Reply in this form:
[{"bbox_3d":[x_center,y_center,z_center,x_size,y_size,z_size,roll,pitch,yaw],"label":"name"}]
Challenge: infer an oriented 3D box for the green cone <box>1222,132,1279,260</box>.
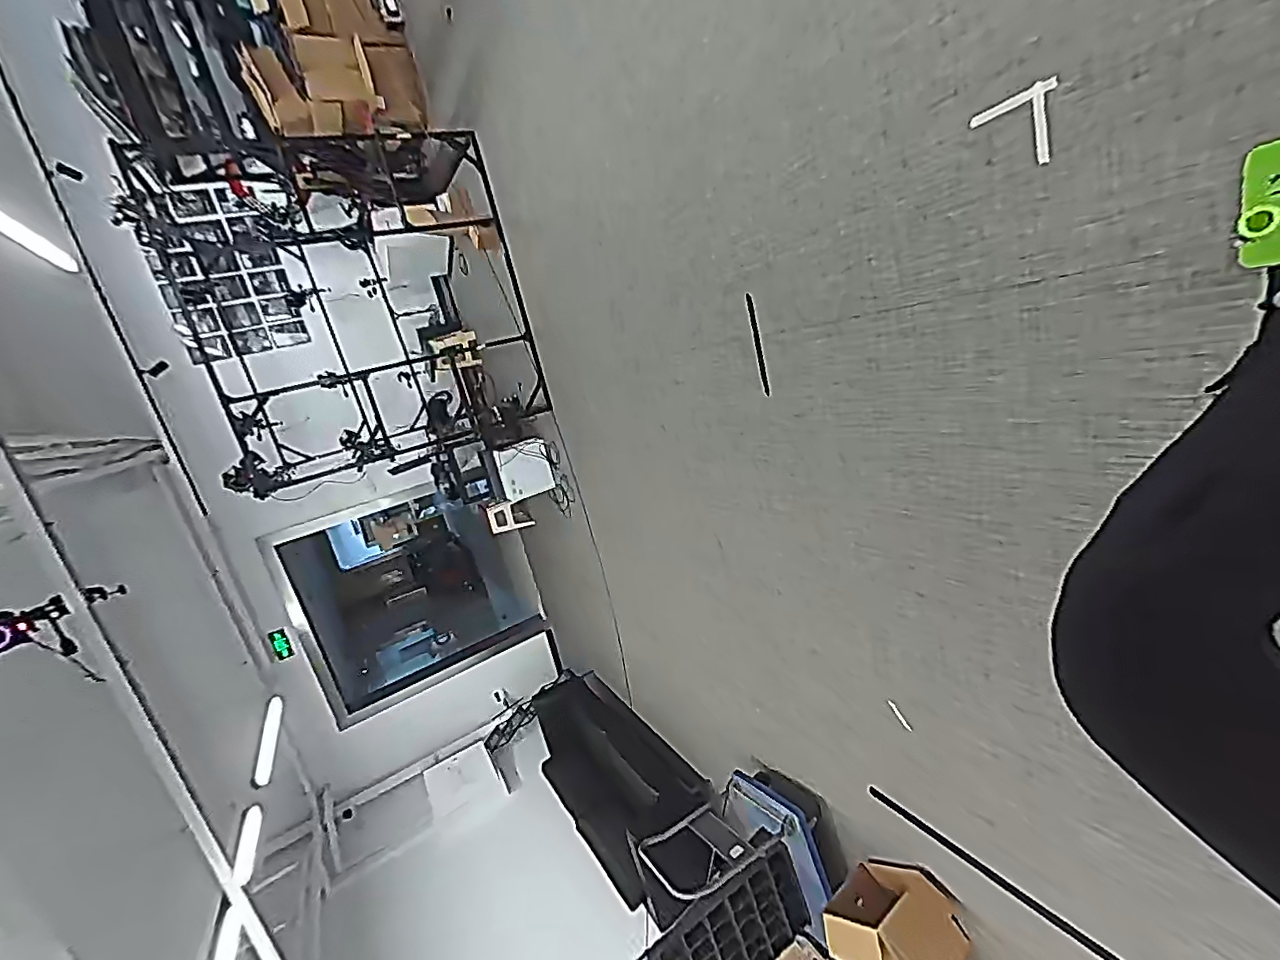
[{"bbox_3d":[0.953,-0.413,0.784,0.202,0.368,0.200,15,122,61],"label":"green cone"}]
